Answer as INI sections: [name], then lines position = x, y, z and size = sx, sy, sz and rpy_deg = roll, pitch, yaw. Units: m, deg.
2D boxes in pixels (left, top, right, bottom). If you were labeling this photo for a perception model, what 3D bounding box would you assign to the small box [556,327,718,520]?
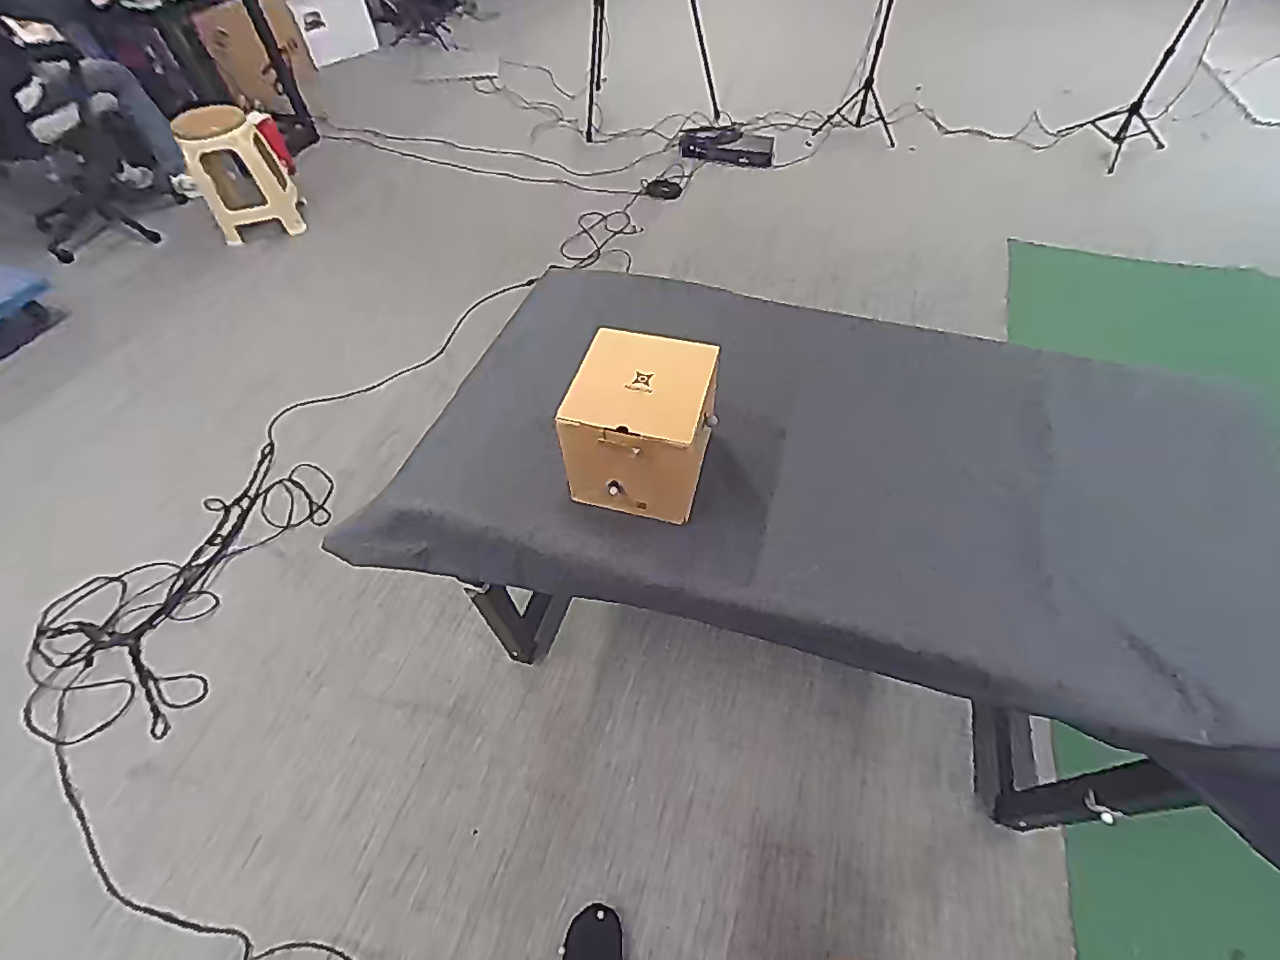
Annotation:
[small box]
position = 0.001, -0.074, 0.725
size = 0.168, 0.176, 0.179
rpy_deg = 11, 55, 9
